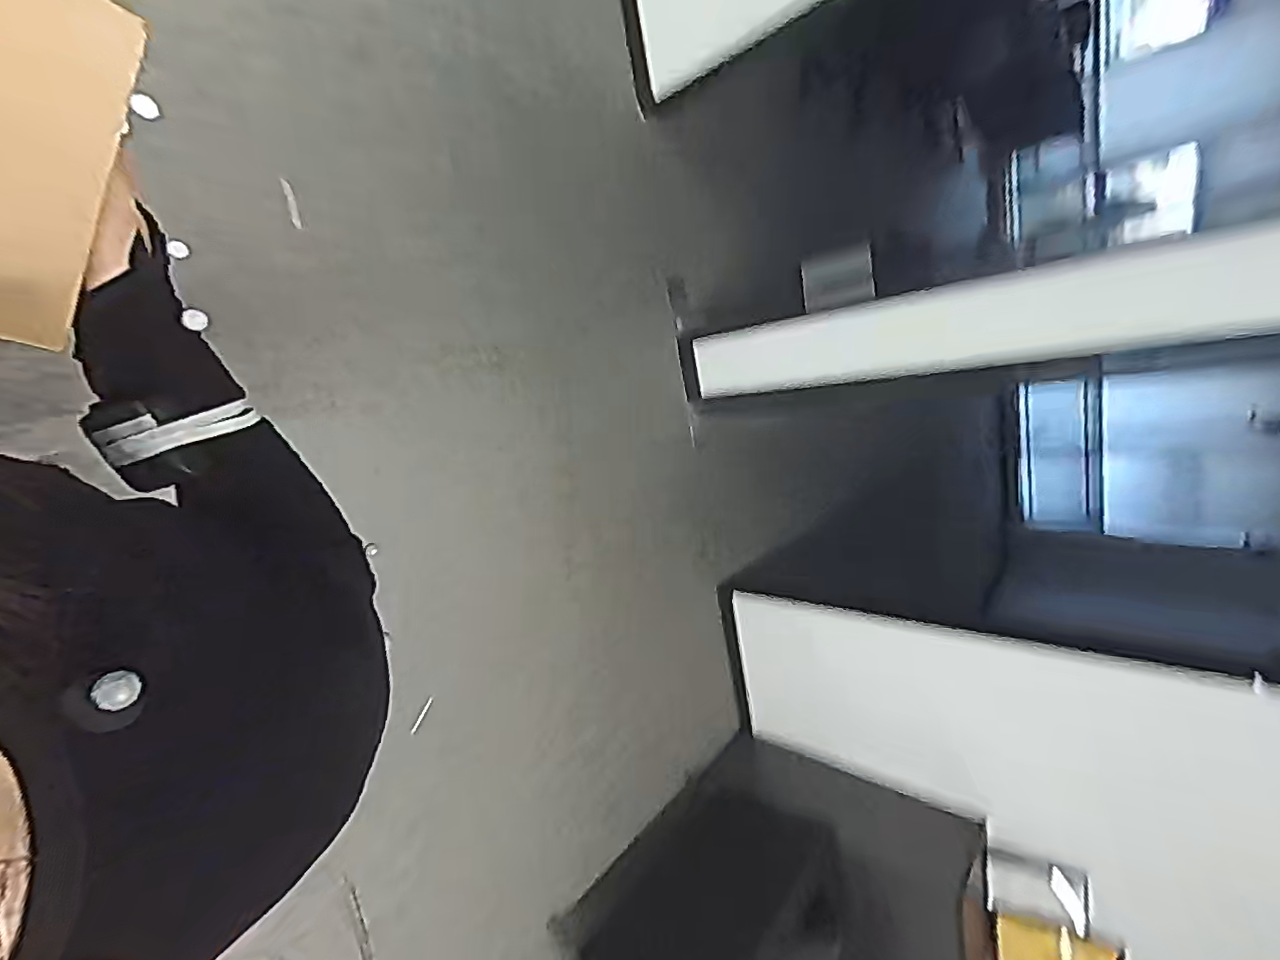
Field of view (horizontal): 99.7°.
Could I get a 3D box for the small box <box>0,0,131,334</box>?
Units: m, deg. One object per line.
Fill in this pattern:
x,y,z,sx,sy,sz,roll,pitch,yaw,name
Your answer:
-0.373,-0.204,0.251,0.168,0.176,0.179,11,116,-50,small box
